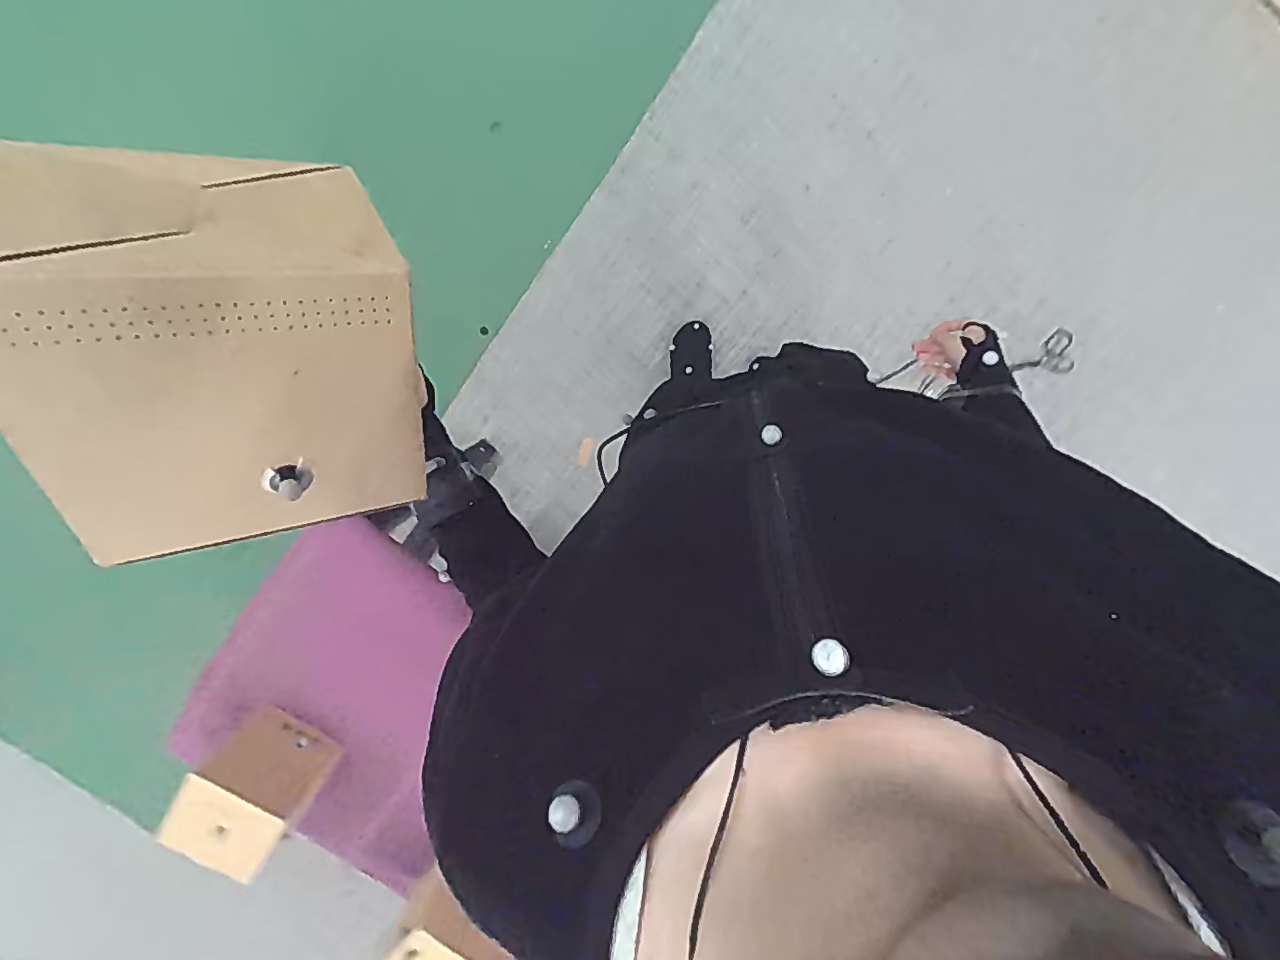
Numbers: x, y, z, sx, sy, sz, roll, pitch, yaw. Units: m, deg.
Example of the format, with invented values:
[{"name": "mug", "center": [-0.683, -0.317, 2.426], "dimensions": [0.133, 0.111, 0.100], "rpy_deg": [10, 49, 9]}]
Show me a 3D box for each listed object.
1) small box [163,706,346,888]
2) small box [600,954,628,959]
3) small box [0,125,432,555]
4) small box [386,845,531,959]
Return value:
[{"name": "small box", "center": [-0.648, 0.536, 0.930], "dimensions": [0.168, 0.176, 0.179], "rpy_deg": [34, 106, -7]}, {"name": "small box", "center": [-0.057, 1.070, 1.031], "dimensions": [0.168, 0.176, 0.179], "rpy_deg": [-37, 99, 13]}, {"name": "small box", "center": [-0.238, -0.087, 0.325], "dimensions": [0.179, 0.168, 0.176], "rpy_deg": [-13, 139, -30]}, {"name": "small box", "center": [-0.324, 0.818, 0.983], "dimensions": [0.179, 0.176, 0.168], "rpy_deg": [38, 105, -7]}]
